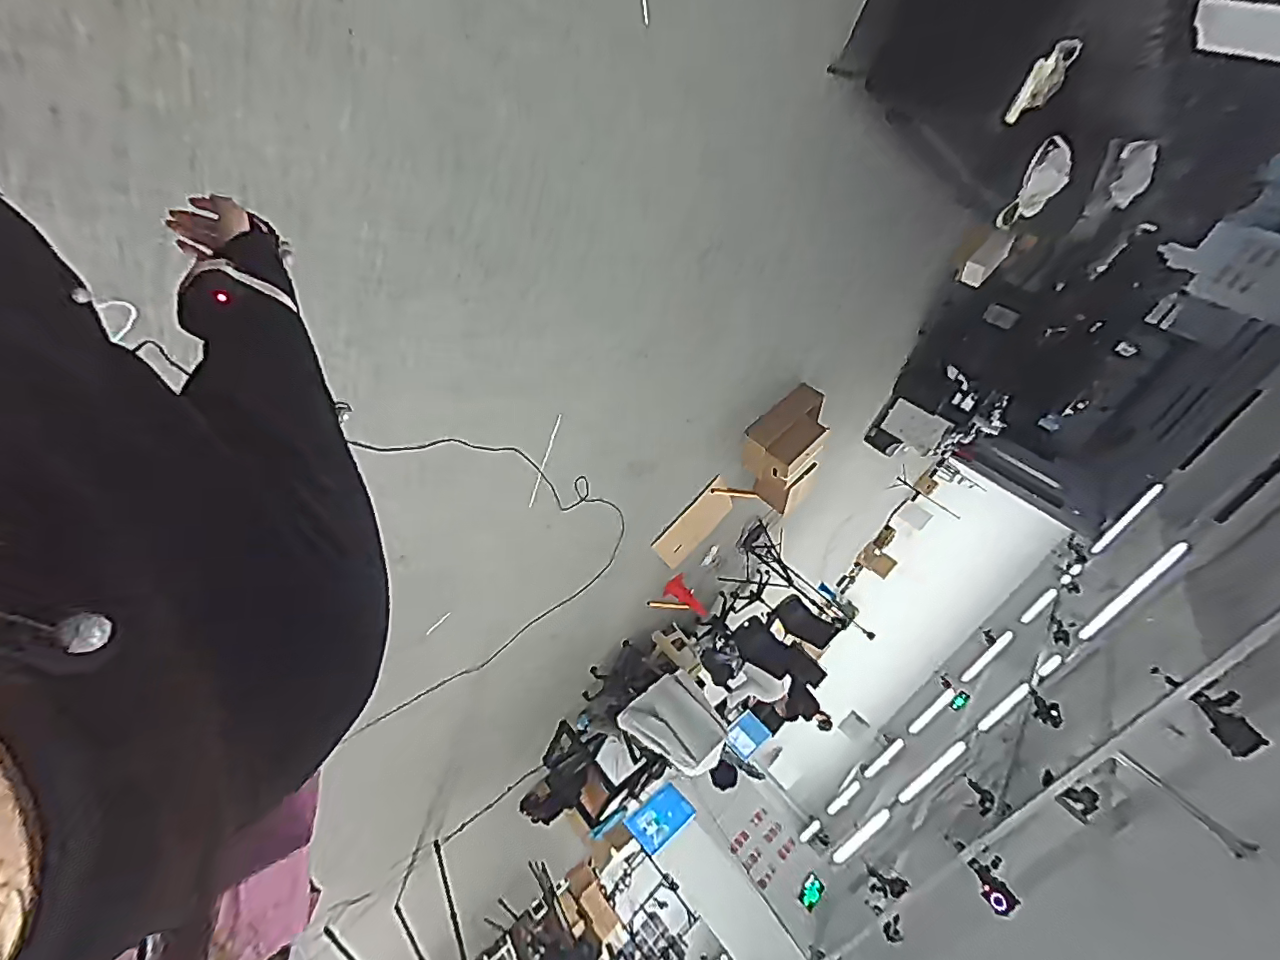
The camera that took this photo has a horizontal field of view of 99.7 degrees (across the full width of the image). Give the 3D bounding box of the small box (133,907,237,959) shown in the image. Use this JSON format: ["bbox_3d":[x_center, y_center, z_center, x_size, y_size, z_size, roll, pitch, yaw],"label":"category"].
[{"bbox_3d":[-1.053,1.156,1.260,0.168,0.176,0.179,-12,136,-48],"label":"small box"}]
